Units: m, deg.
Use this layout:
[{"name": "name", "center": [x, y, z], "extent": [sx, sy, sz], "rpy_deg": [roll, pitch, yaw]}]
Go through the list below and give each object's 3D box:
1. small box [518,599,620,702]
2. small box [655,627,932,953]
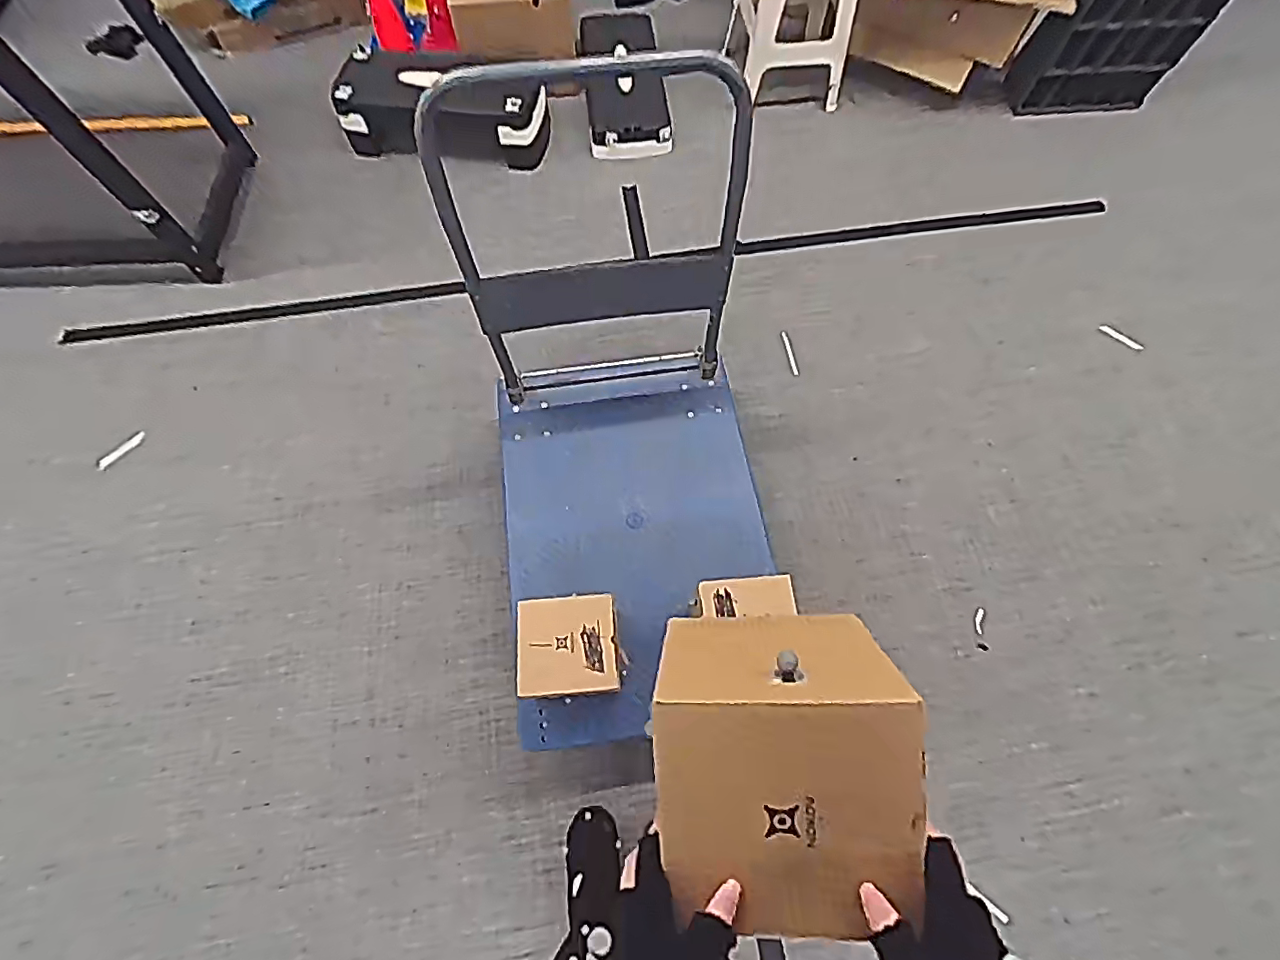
[{"name": "small box", "center": [-0.128, 0.326, 1.027], "extent": [0.179, 0.176, 0.168], "rpy_deg": [-4, 67, -1]}, {"name": "small box", "center": [0.110, 0.226, 0.438], "extent": [0.179, 0.176, 0.168], "rpy_deg": [-3, 93, 6]}]
